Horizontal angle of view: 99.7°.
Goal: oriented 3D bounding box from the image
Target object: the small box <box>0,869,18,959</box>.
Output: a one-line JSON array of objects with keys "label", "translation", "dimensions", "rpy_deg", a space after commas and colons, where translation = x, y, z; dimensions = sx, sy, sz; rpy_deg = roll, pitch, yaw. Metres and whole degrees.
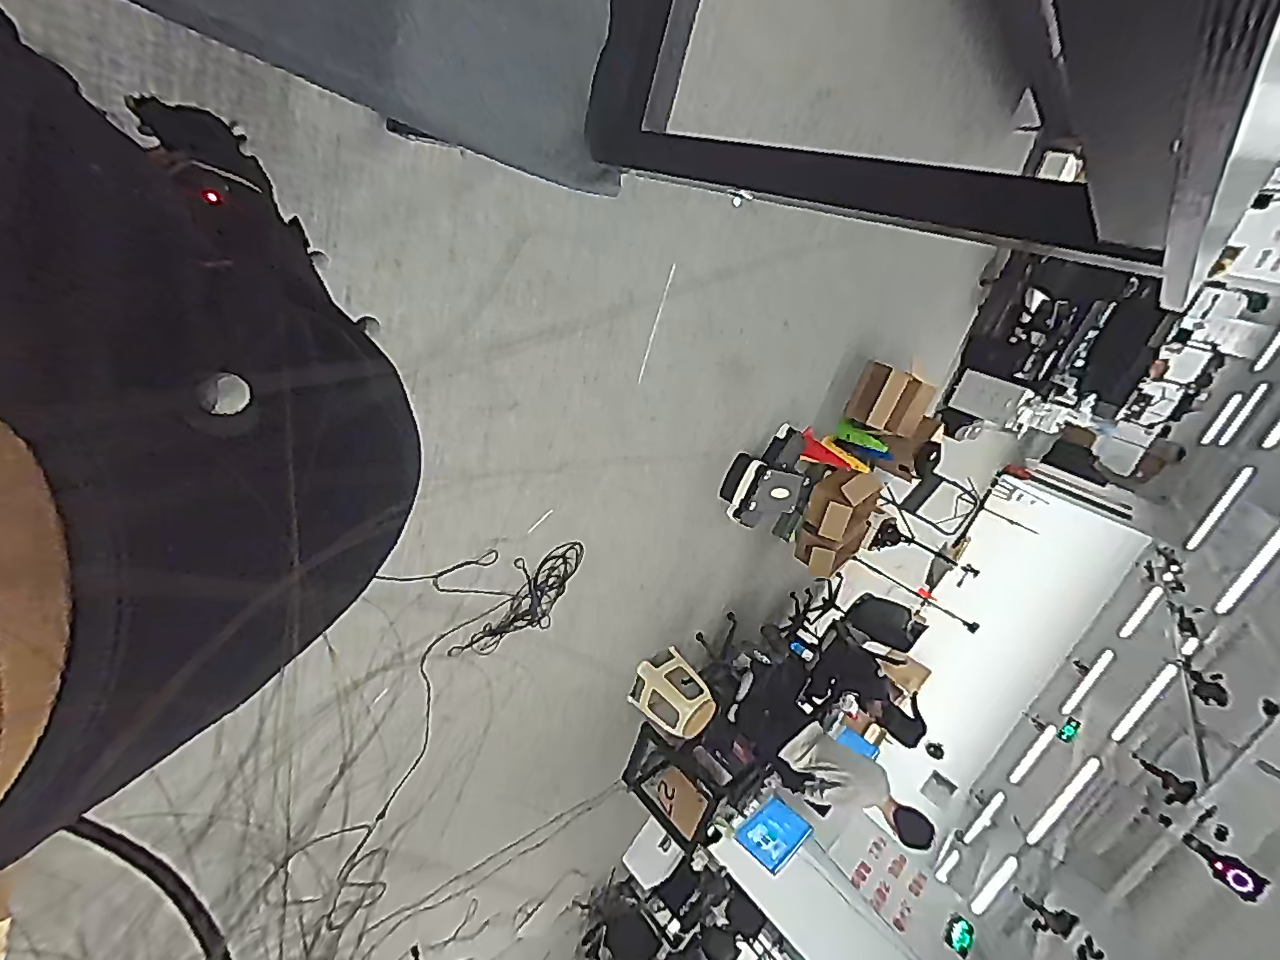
[{"label": "small box", "translation": [-1.650, 1.099, 1.317], "dimensions": [0.168, 0.176, 0.179], "rpy_deg": [5, 113, -50]}]
